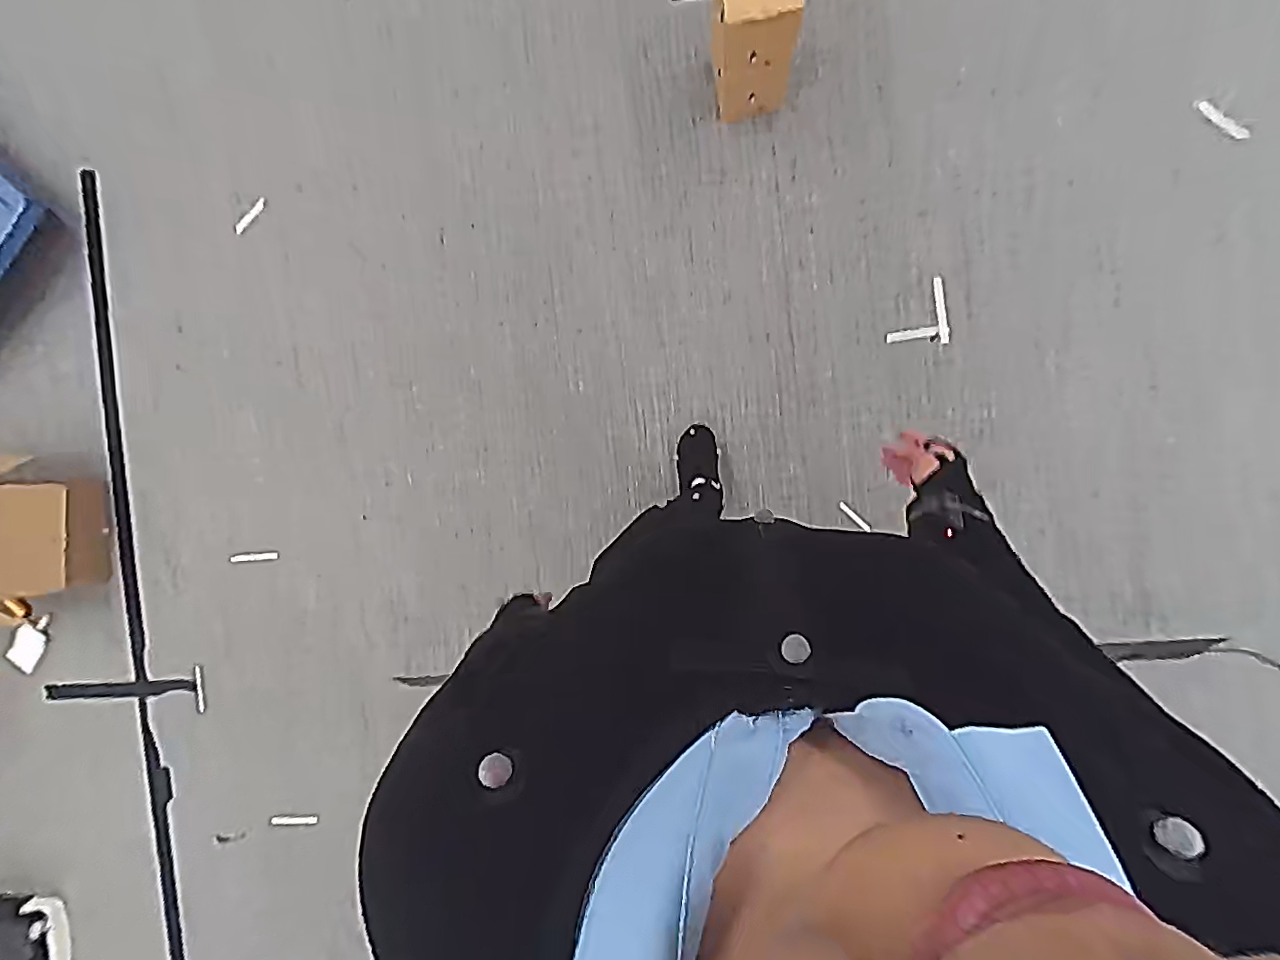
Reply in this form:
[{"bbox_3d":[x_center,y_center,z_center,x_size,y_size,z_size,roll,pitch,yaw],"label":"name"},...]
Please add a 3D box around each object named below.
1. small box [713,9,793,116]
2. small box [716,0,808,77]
[{"bbox_3d":[0.279,-1.055,1.361,0.168,0.176,0.179,-9,90,6],"label":"small box"},{"bbox_3d":[0.262,-1.051,1.199,0.168,0.176,0.179,-8,91,6],"label":"small box"}]
